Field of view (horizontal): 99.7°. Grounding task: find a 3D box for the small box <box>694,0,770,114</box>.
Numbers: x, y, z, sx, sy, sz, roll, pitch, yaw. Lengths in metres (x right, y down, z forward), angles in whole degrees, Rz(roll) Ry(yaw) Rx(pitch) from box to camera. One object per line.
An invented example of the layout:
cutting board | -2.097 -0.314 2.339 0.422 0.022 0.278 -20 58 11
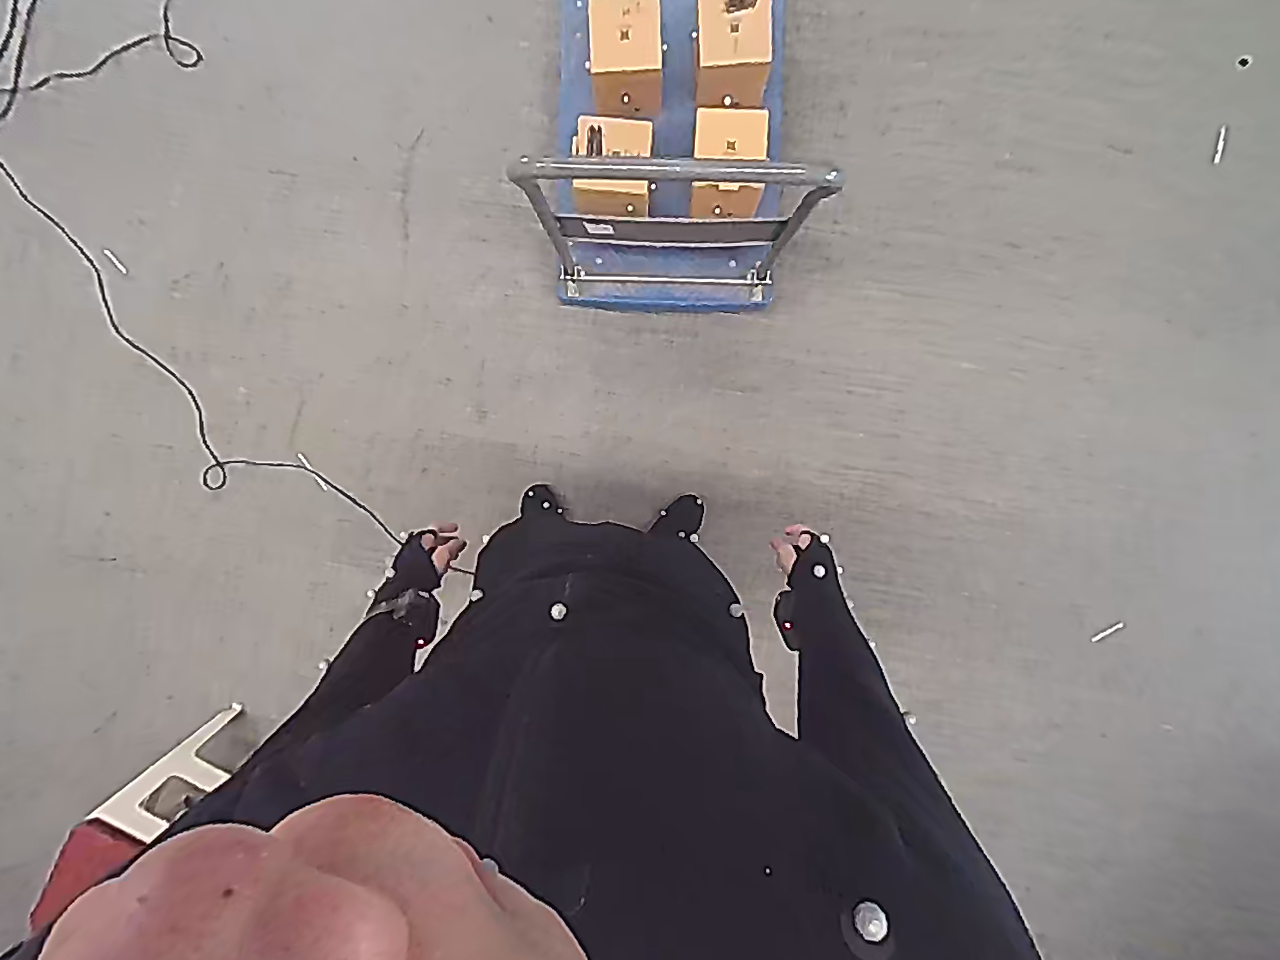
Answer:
small box | 0.219 -1.036 1.324 0.168 0.176 0.179 -2 93 3

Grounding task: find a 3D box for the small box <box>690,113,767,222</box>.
small box | 0.212 -0.765 1.335 0.168 0.176 0.179 3 93 2

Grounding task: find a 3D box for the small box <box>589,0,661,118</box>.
small box | -0.032 -1.026 1.334 0.168 0.176 0.179 -2 92 1
